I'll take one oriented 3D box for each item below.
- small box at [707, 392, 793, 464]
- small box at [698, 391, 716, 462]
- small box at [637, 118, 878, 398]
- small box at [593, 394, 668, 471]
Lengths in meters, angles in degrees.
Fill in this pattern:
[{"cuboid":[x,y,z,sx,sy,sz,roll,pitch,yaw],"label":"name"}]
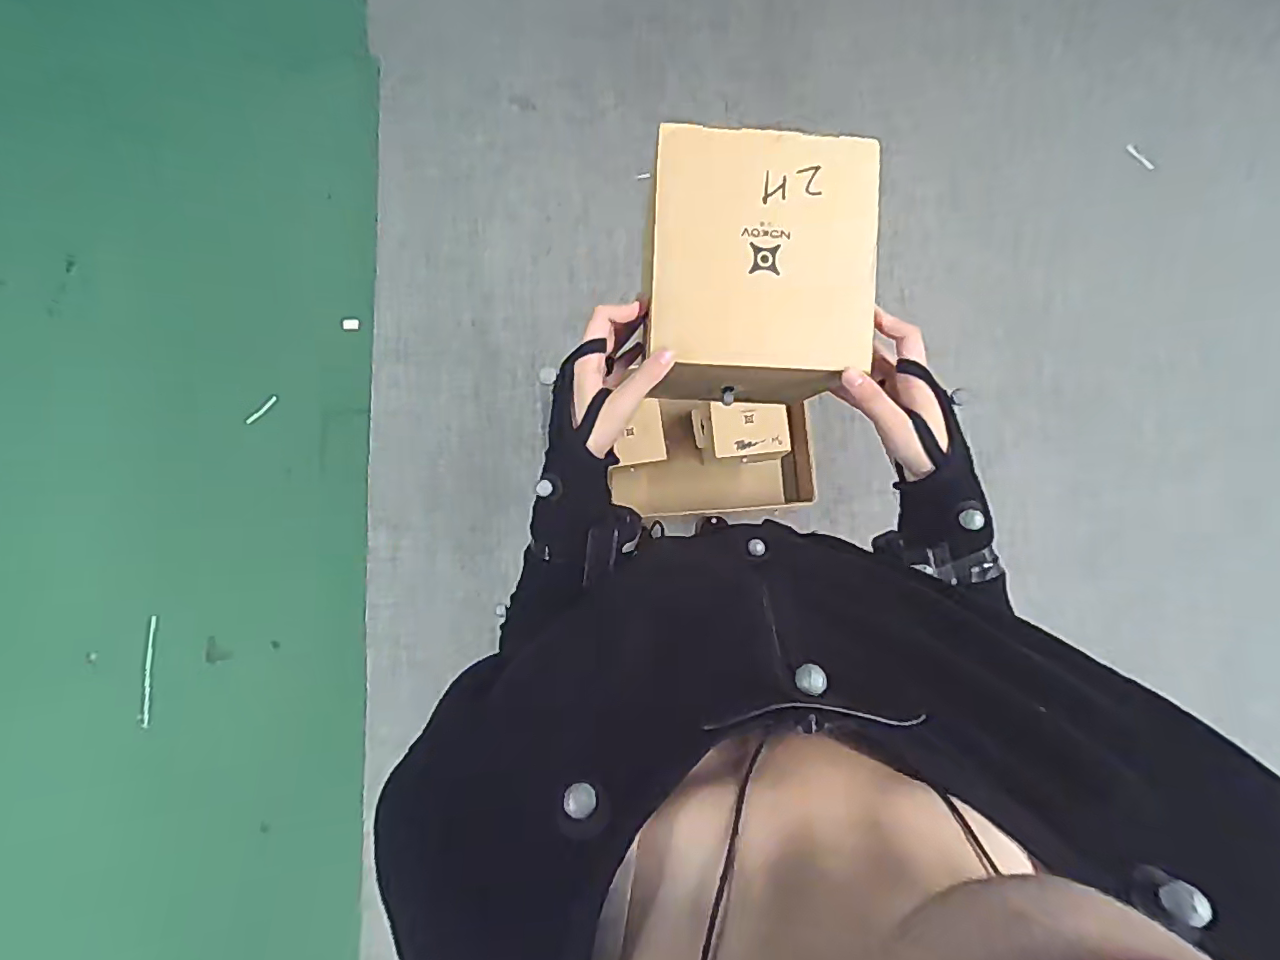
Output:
[{"cuboid":[0.247,-0.141,1.256,0.168,0.176,0.179,-5,84,4],"label":"small box"},{"cuboid":[0.249,-0.148,1.421,0.179,0.176,0.168,-9,85,3],"label":"small box"},{"cuboid":[0.085,-0.171,0.474,0.168,0.176,0.179,3,89,-4],"label":"small box"},{"cuboid":[-0.021,-0.121,1.434,0.179,0.176,0.168,-7,85,0],"label":"small box"}]
